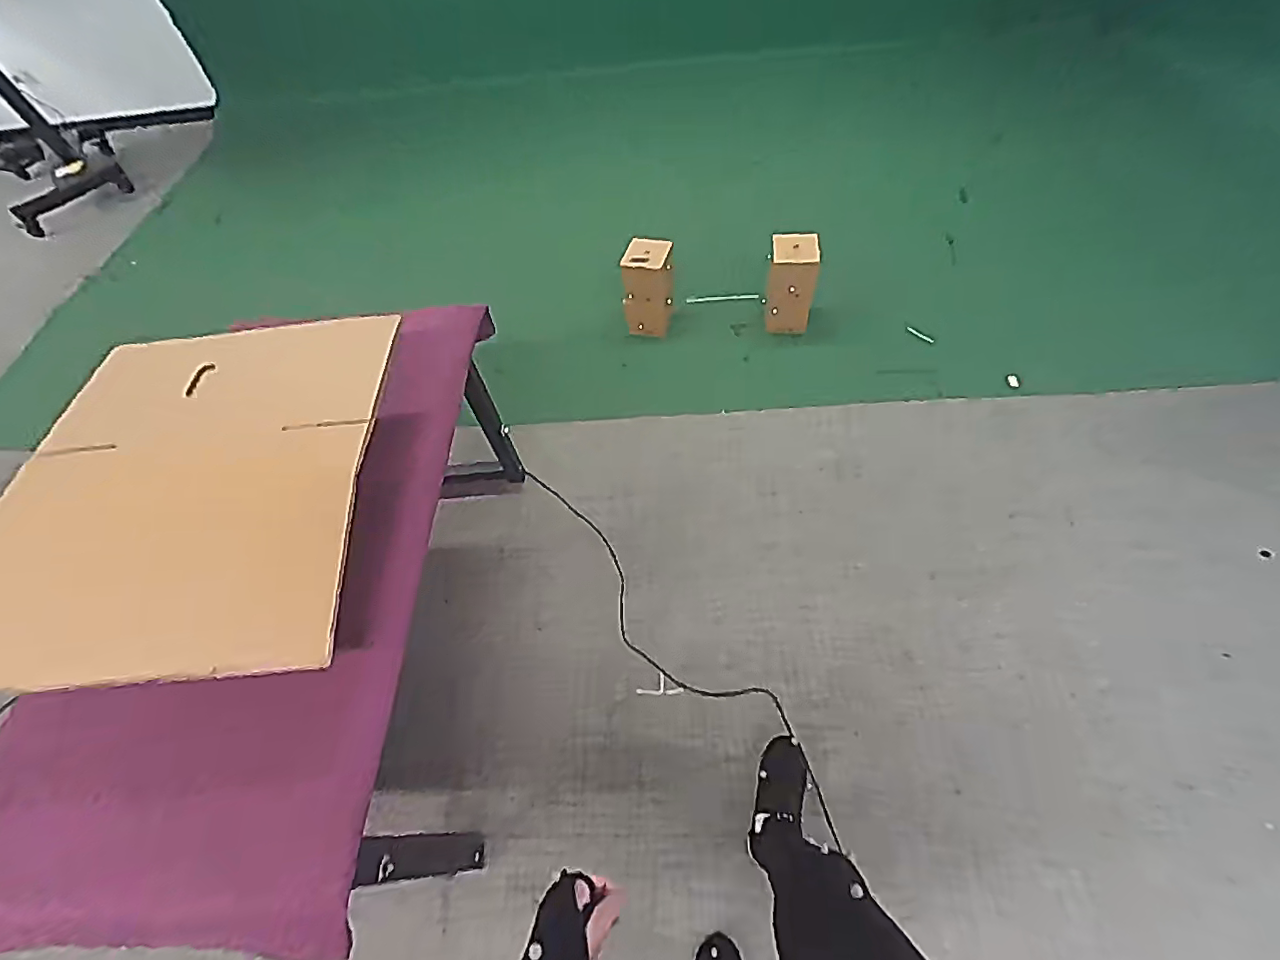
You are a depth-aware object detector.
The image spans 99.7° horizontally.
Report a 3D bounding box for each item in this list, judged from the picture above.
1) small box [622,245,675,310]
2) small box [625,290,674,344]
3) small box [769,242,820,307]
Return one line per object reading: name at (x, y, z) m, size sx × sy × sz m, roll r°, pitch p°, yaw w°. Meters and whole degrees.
small box at (0.039, -0.801, 2.150) m, size 0.168 × 0.176 × 0.179 m, roll 12°, pitch 58°, yaw 14°
small box at (0.045, -0.704, 2.283) m, size 0.168 × 0.176 × 0.179 m, roll 10°, pitch 59°, yaw 12°
small box at (0.590, -0.792, 2.080) m, size 0.168 × 0.176 × 0.179 m, roll 3°, pitch 57°, yaw 8°
